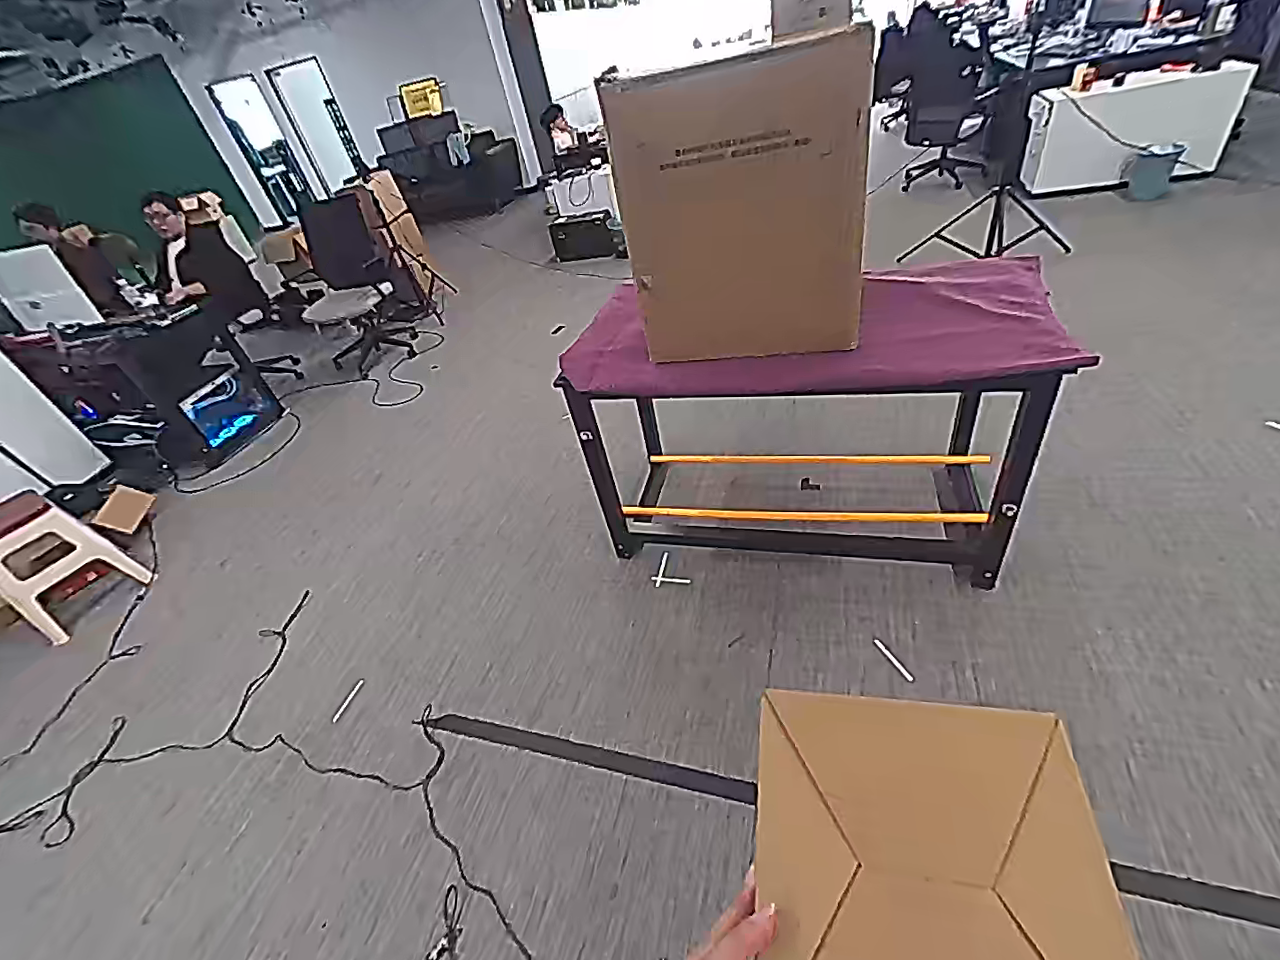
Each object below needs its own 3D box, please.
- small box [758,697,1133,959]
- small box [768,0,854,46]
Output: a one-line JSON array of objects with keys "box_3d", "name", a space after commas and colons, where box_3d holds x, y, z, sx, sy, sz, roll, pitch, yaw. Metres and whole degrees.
[{"box_3d": [0.161, 0.256, 0.331, 0.168, 0.176, 0.179, -1, 48, 15], "name": "small box"}, {"box_3d": [0.359, -1.031, 1.130, 0.168, 0.176, 0.179, 1, 41, 20], "name": "small box"}]
